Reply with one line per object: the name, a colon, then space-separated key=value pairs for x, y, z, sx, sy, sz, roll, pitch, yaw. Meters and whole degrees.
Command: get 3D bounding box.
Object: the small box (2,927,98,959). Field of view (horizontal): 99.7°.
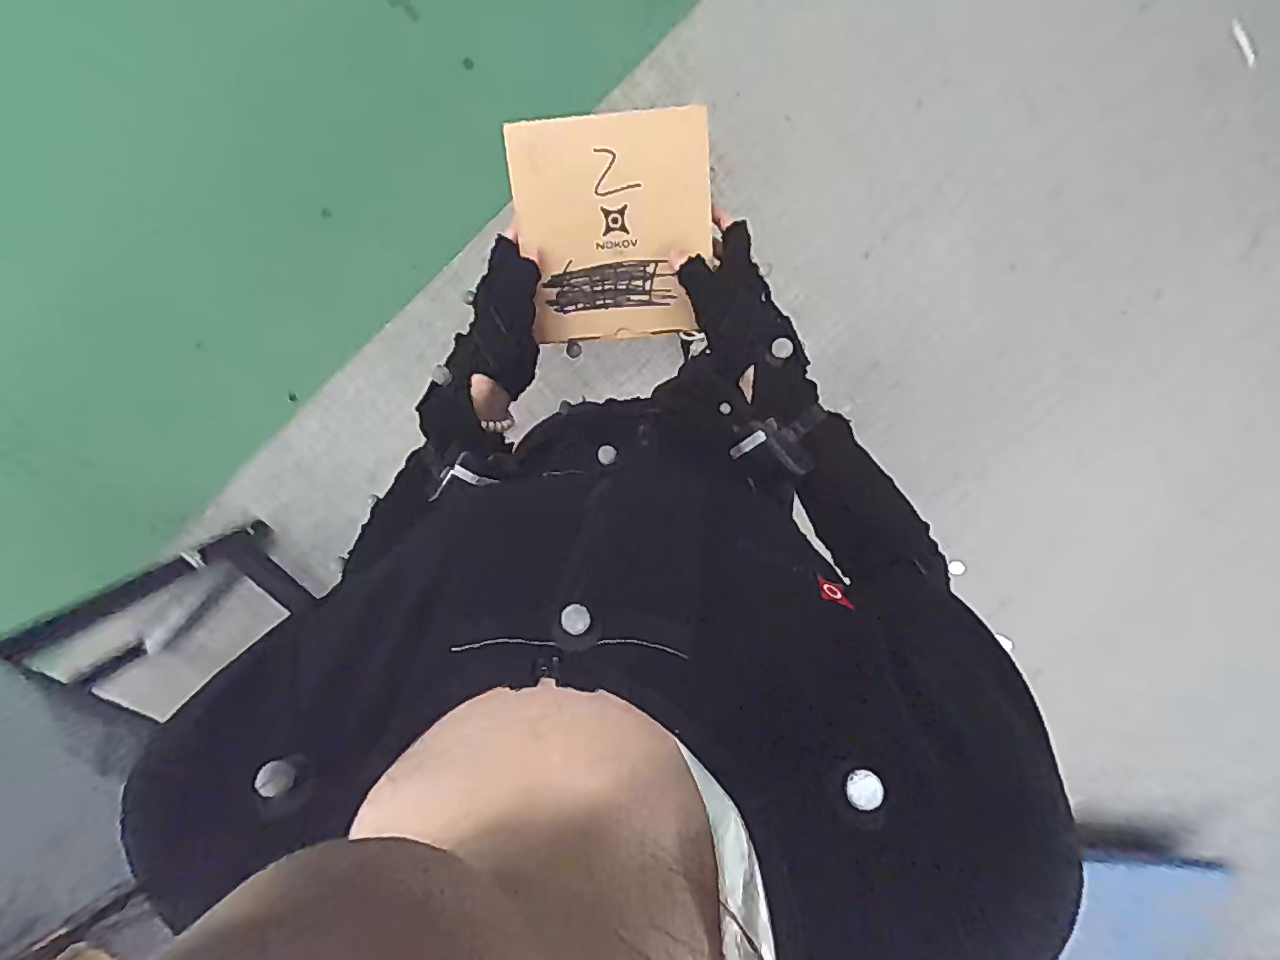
small box: x=-1.066 y=0.919 z=0.909 sx=0.179 sy=0.176 sz=0.168 roll=-39 pitch=101 yaw=8
